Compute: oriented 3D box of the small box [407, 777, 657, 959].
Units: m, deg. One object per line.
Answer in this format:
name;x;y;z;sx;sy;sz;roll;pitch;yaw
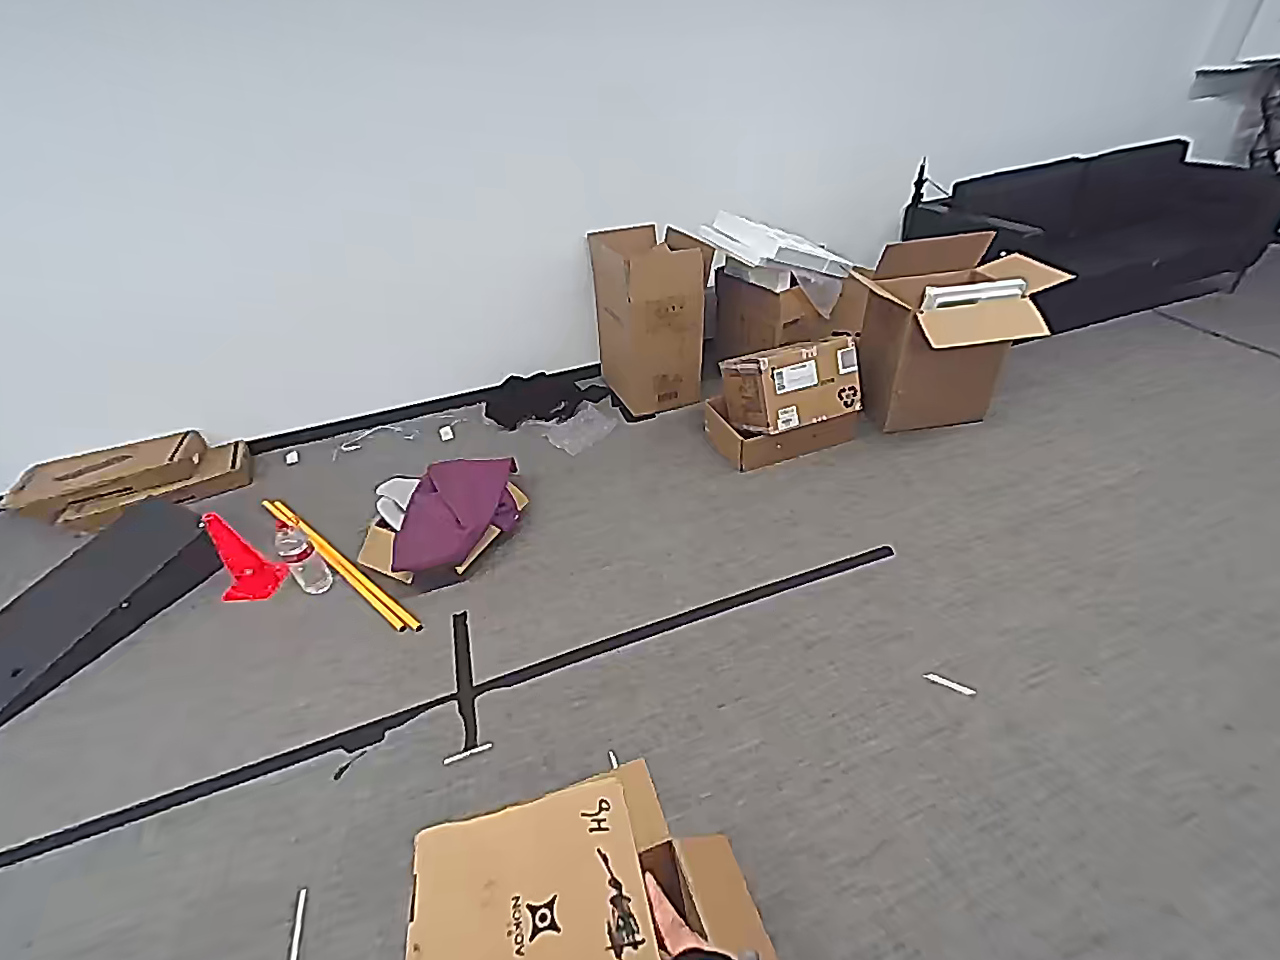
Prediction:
small box;-0.080;0.386;0.452;0.179;0.176;0.168;-10;42;-10
